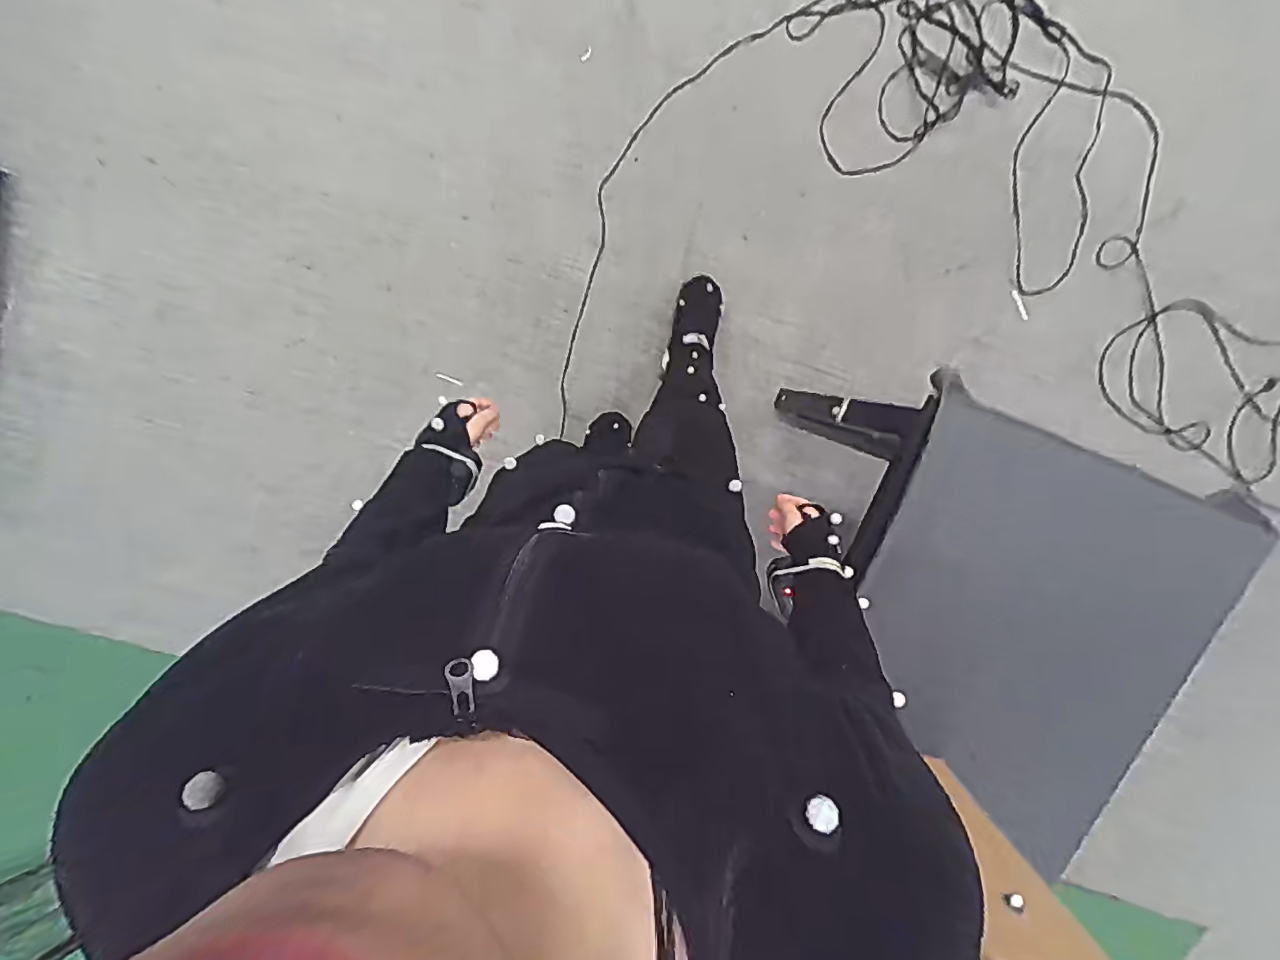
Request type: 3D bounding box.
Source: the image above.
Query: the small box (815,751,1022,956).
[{"bbox_3d":[0.386,0.527,0.783,0.179,0.176,0.168,16,100,-7],"label":"small box"}]
